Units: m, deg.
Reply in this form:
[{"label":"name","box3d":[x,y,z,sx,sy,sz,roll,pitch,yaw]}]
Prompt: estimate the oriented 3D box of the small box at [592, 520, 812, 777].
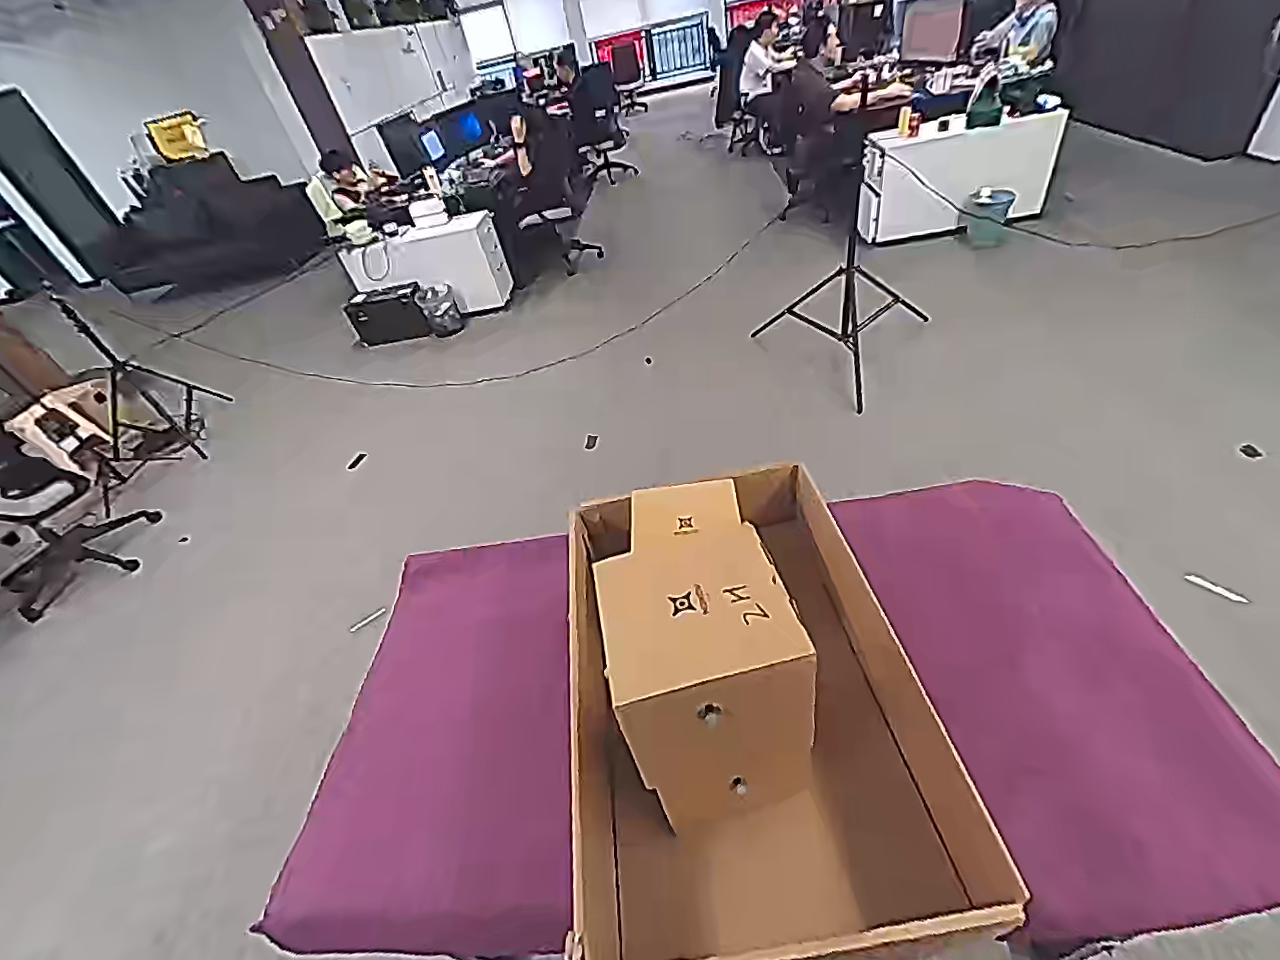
[{"label":"small box","box3d":[0.061,0.172,0.550,0.179,0.176,0.168,-14,39,-1]}]
